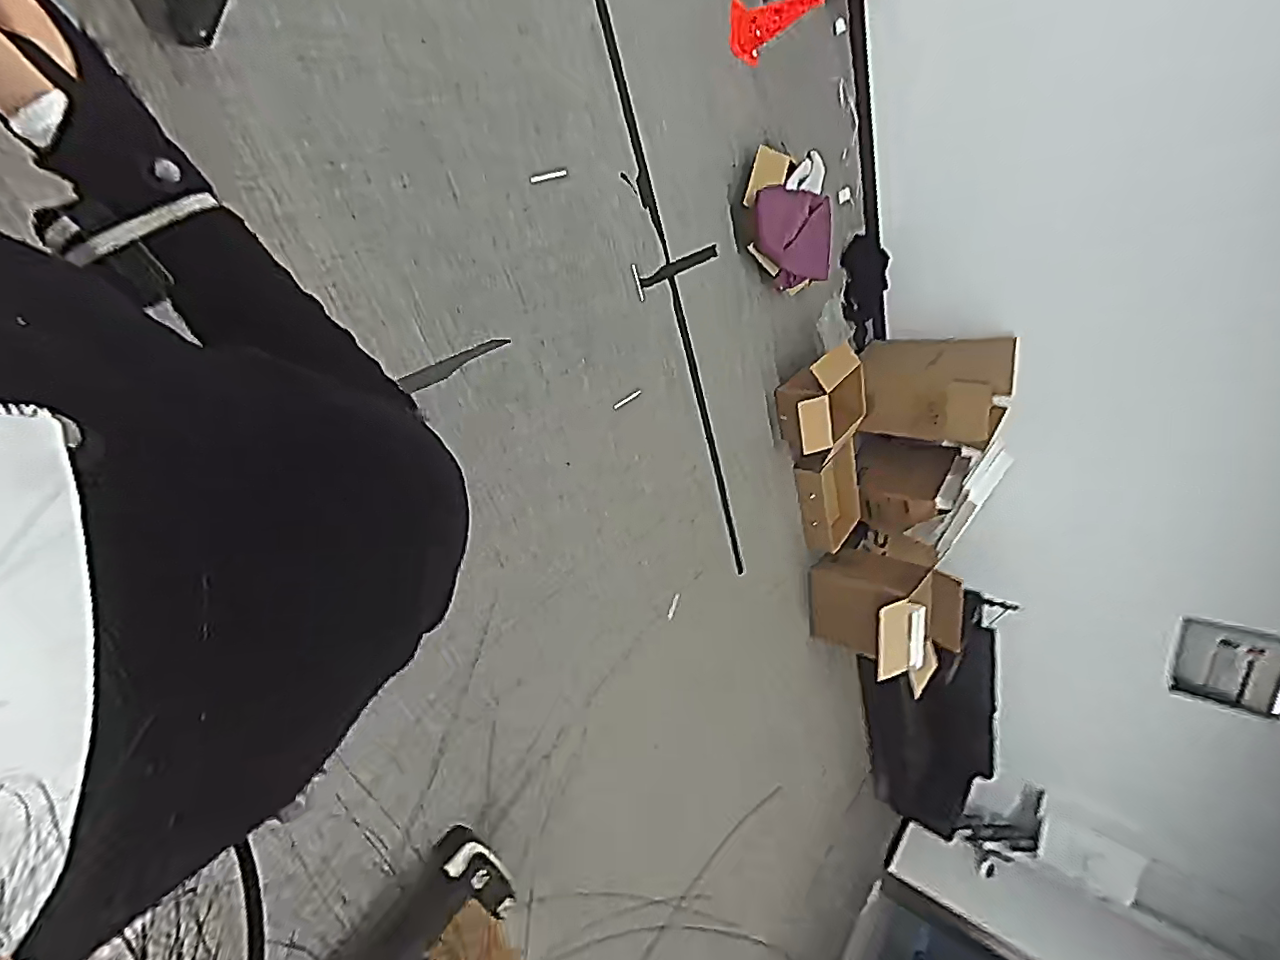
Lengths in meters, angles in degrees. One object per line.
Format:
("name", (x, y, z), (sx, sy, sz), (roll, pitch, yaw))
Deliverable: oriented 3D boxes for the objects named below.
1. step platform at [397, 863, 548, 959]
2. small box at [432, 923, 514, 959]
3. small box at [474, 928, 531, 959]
("step platform", (-0.585, 1.460, 1.489), (0.684, 0.204, 0.286), (-40, 125, -33))
("small box", (-0.500, 1.398, 1.618), (0.179, 0.176, 0.168), (-42, 126, -33))
("small box", (-0.383, 1.420, 1.507), (0.179, 0.176, 0.168), (-43, 127, -32))
